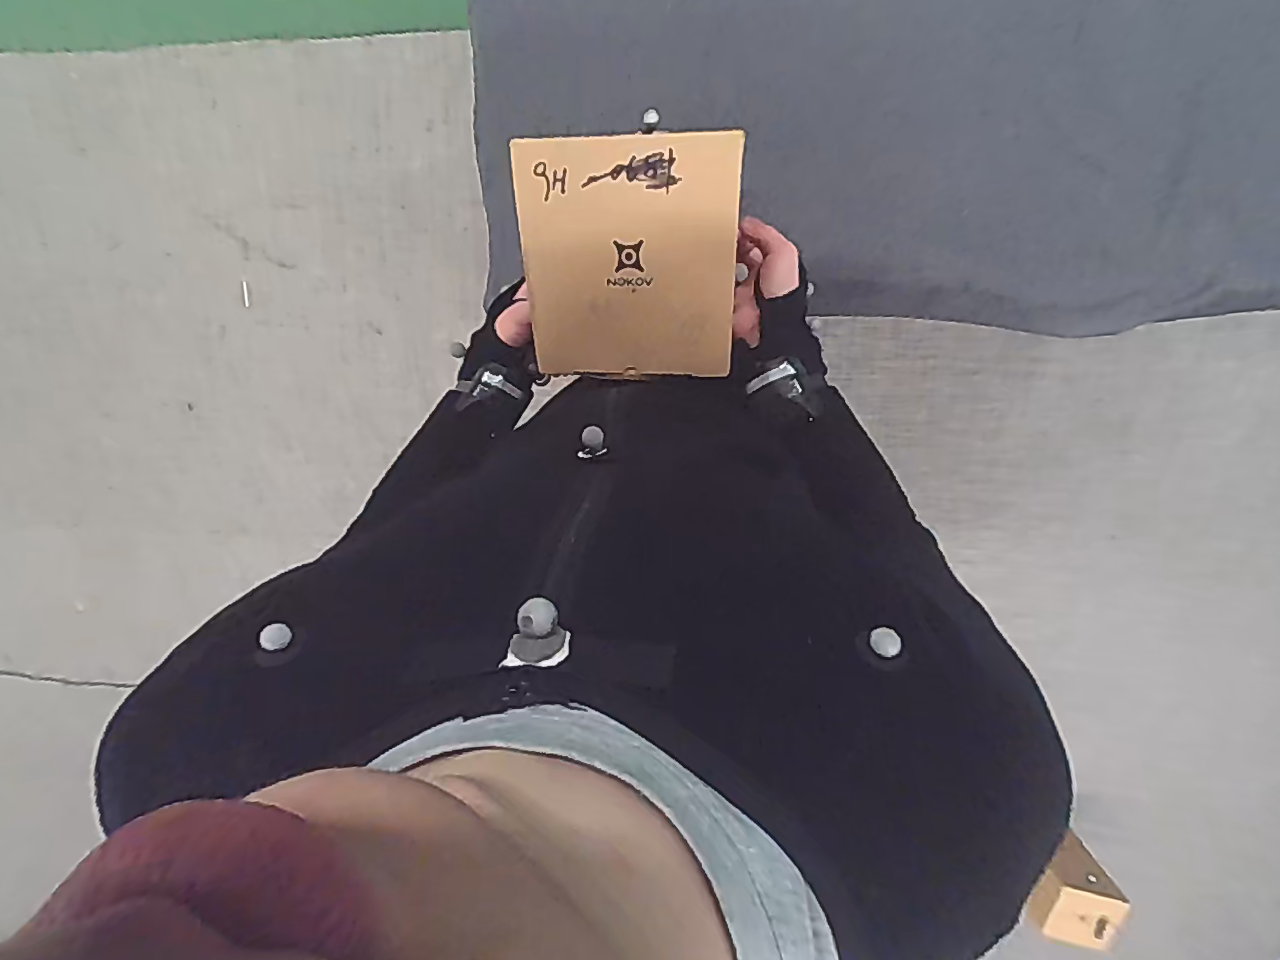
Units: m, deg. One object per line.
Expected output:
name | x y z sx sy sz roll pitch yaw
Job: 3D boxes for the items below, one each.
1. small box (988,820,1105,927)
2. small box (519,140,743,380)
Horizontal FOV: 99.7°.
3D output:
small box | 1.148 1.113 1.542 0.179 0.176 0.168 13 104 1
small box | 0.002 -0.206 0.497 0.168 0.176 0.179 2 123 5
